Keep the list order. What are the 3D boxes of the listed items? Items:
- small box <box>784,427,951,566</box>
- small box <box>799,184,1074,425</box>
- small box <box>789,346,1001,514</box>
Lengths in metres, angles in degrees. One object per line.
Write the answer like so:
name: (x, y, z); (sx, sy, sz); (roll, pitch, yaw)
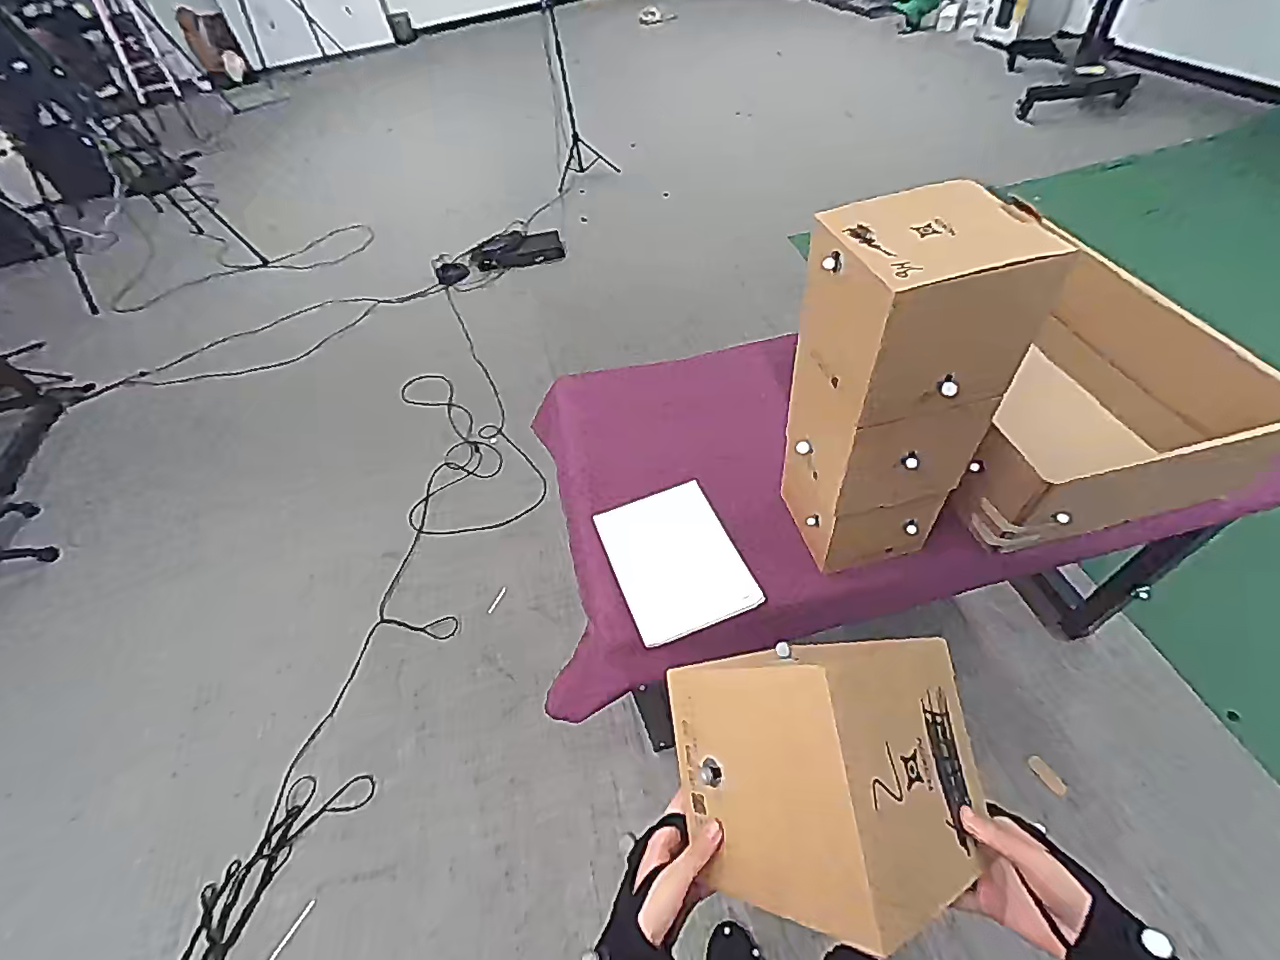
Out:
small box: (0.335, 0.015, 0.835); (0.168, 0.176, 0.179); (-13, 49, -2)
small box: (0.290, -0.184, 0.579); (0.179, 0.176, 0.168); (-13, 49, -3)
small box: (0.310, -0.080, 0.704); (0.179, 0.176, 0.168); (-14, 49, -2)
